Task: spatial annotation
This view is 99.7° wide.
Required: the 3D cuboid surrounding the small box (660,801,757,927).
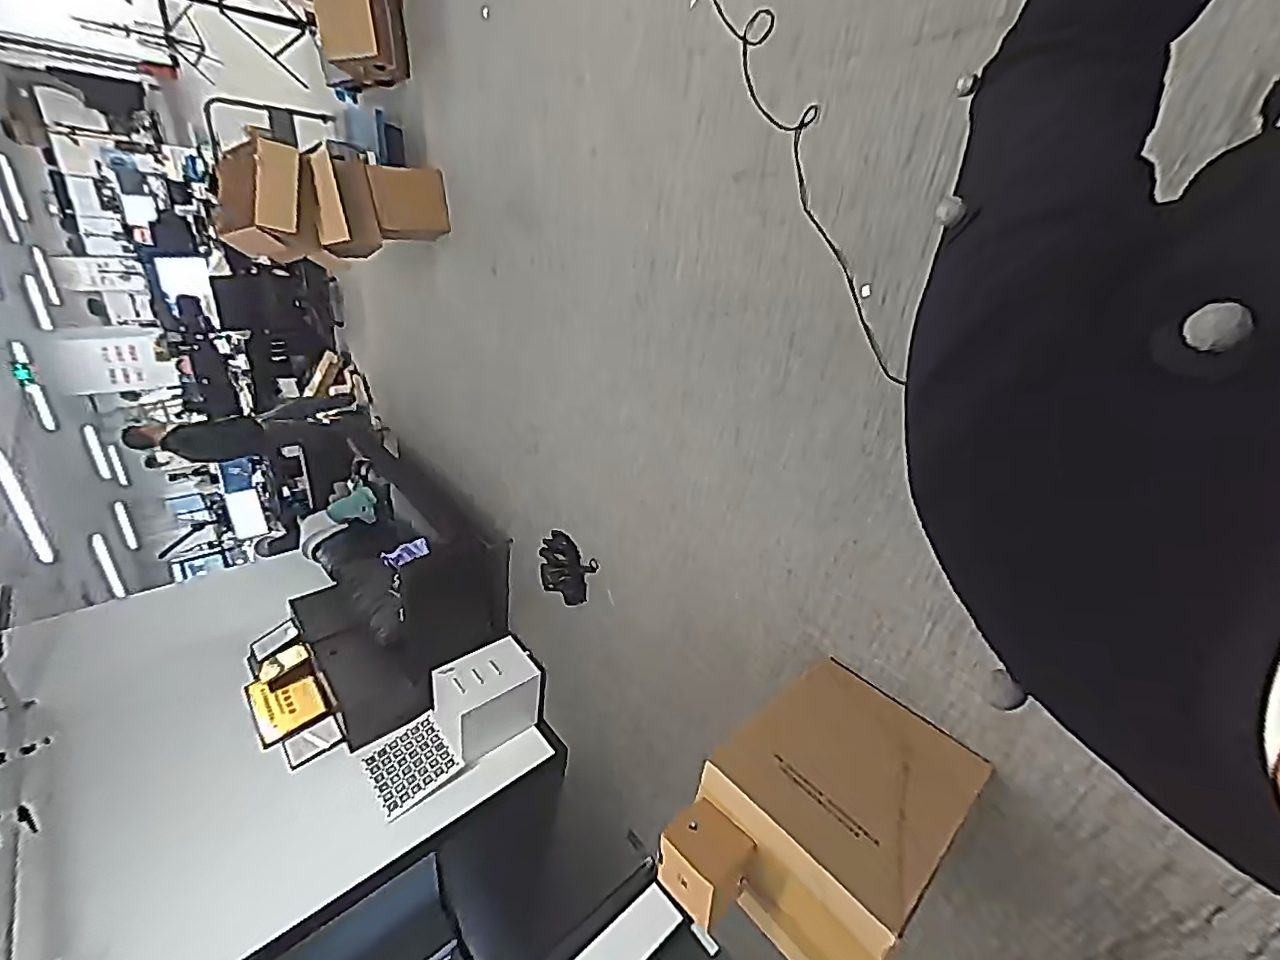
[{"bbox_3d":[0.175,0.969,1.389,0.179,0.176,0.168,21,116,43],"label":"small box"}]
